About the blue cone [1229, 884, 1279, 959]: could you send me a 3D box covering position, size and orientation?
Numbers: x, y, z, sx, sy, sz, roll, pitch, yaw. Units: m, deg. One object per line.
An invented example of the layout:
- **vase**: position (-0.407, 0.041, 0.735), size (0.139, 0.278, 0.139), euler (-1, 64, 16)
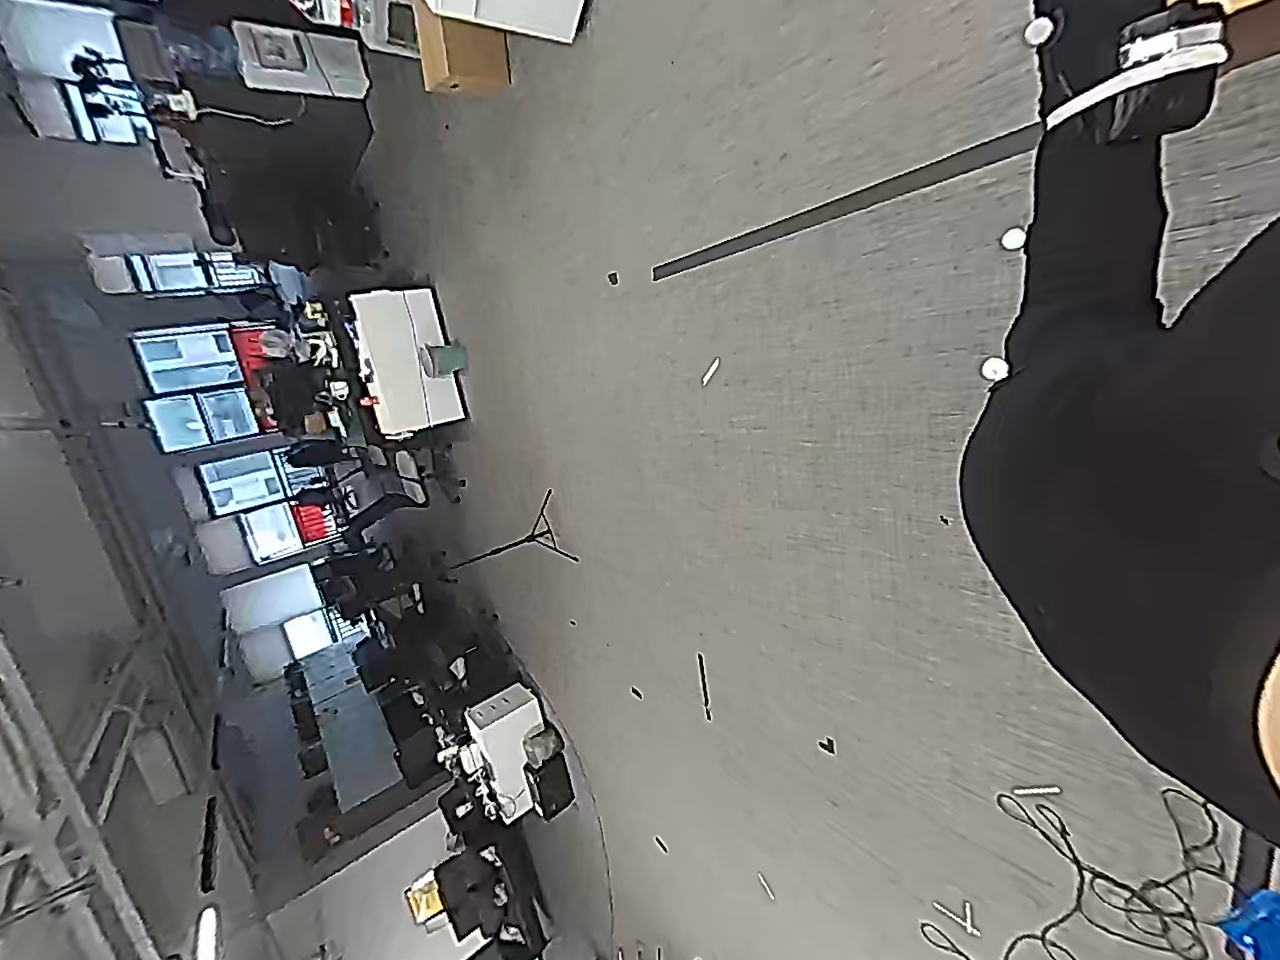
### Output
- **blue cone**: position (1.332, 1.054, 1.096), size (0.193, 0.380, 0.192), euler (35, 133, 40)

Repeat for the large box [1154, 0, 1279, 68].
- **large box**: position (0.542, -0.482, 0.256), size (0.408, 0.320, 0.320), euler (7, 116, 50)
